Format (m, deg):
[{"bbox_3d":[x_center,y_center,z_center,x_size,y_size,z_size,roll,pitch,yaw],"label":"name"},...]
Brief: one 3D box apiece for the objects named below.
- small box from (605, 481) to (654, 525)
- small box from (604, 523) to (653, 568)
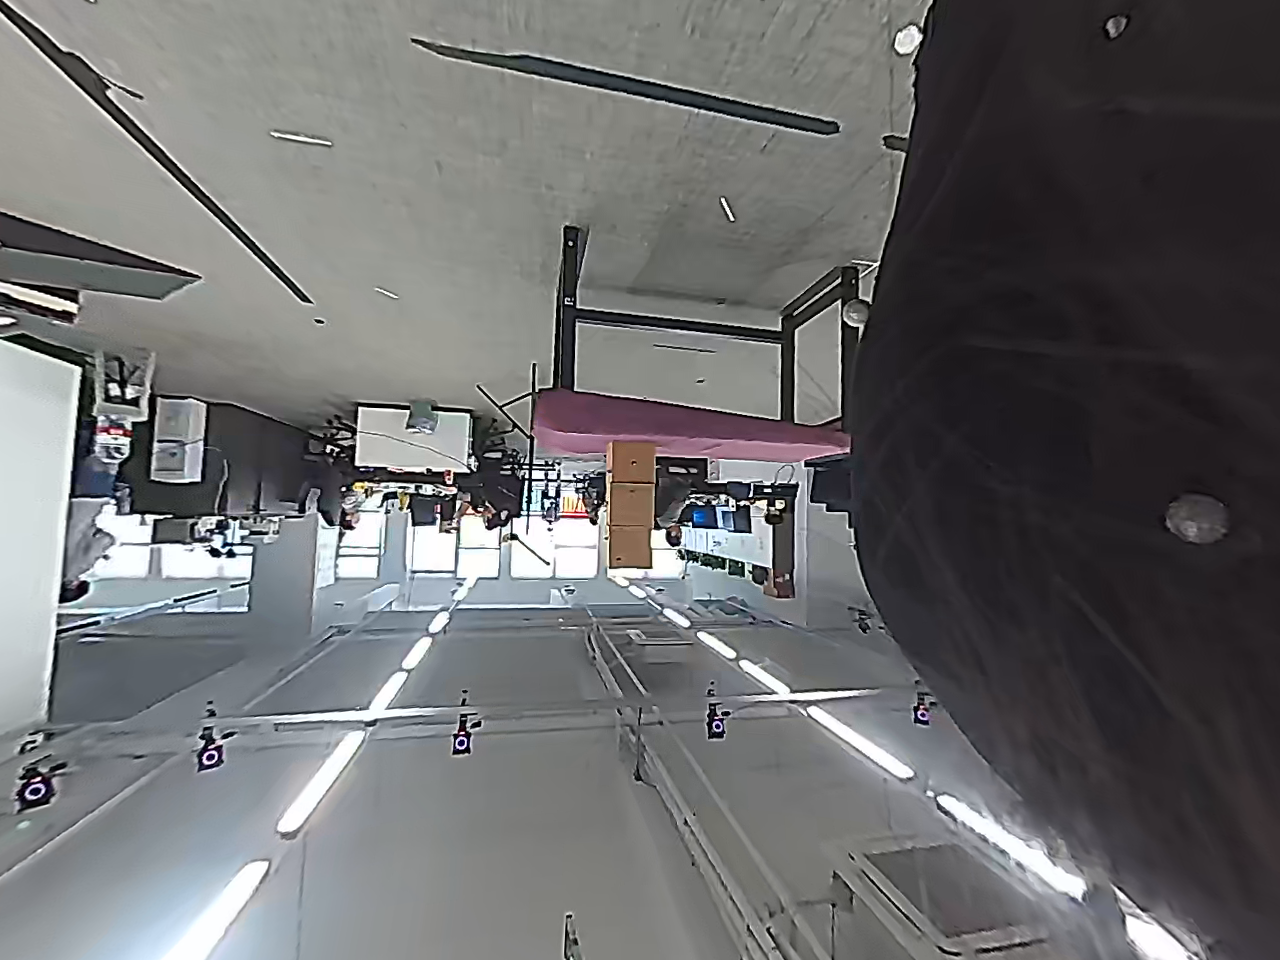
[{"bbox_3d":[-0.043,0.091,2.147,0.179,0.176,0.168,2,177,-8],"label":"small box"},{"bbox_3d":[-0.047,0.255,2.145,0.179,0.176,0.168,2,176,-8],"label":"small box"}]
